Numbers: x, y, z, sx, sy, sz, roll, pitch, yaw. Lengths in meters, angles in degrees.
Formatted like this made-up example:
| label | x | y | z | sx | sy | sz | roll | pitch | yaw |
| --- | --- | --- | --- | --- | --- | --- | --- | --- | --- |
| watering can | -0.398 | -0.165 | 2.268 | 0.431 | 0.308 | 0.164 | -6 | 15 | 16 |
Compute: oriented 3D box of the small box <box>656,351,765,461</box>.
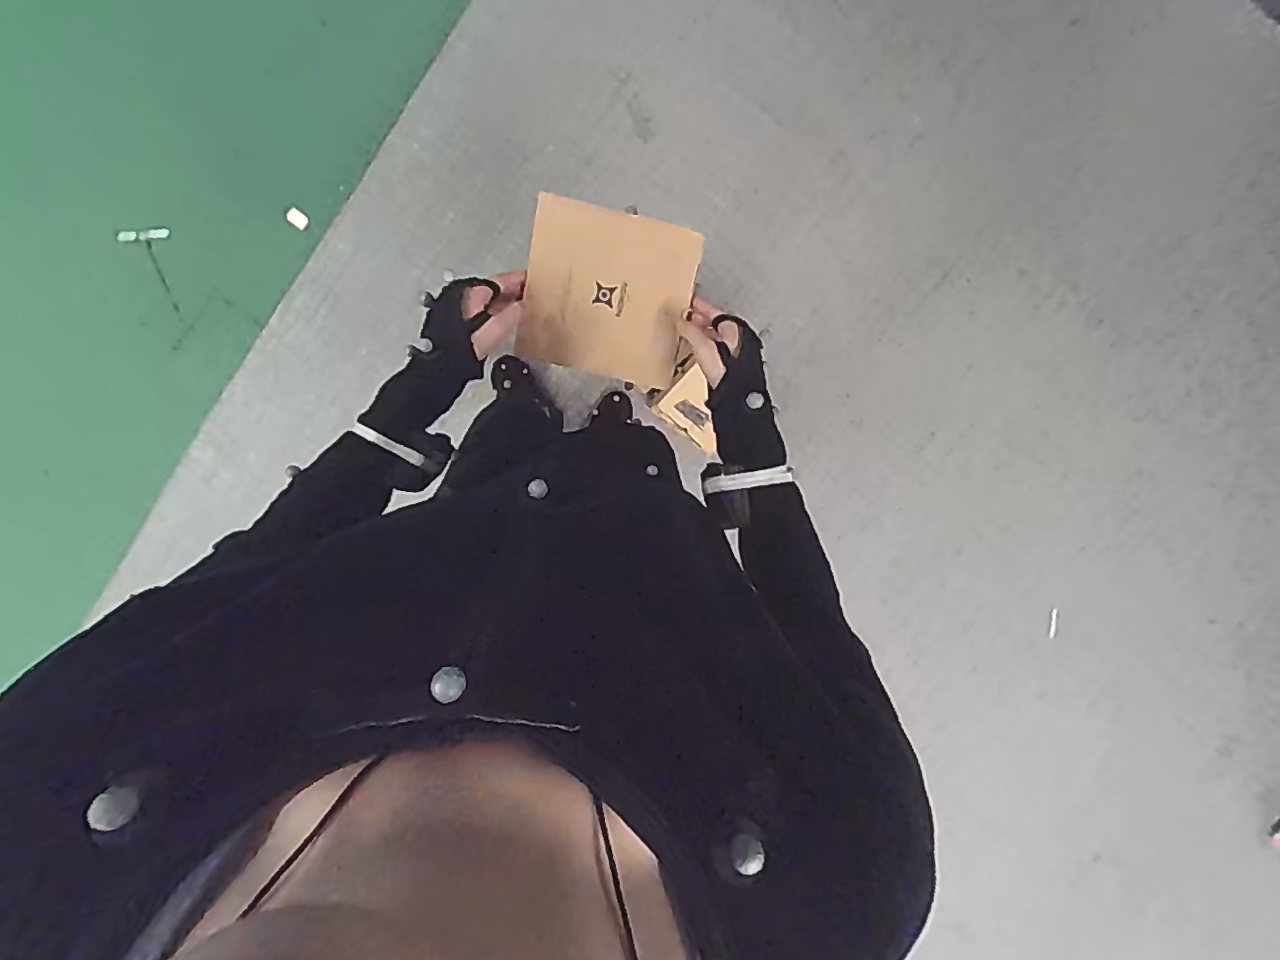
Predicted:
| label | x | y | z | sx | sy | sz | roll | pitch | yaw |
| --- | --- | --- | --- | --- | --- | --- | --- | --- | --- |
| small box | 0.152 | -0.170 | 1.229 | 0.168 | 0.176 | 0.179 | 43 | 97 | -9 |

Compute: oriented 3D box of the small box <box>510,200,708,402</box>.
| label | x | y | z | sx | sy | sz | roll | pitch | yaw |
| --- | --- | --- | --- | --- | --- | --- | --- | --- | --- |
| small box | -0.032 | -0.204 | 0.639 | 0.179 | 0.176 | 0.168 | 16 | 105 | -2 |

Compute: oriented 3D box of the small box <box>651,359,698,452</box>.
| label | x | y | z | sx | sy | sz | roll | pitch | yaw |
| --- | --- | --- | --- | --- | --- | --- | --- | --- | --- |
| small box | 0.141 | -0.192 | 1.392 | 0.168 | 0.176 | 0.179 | 38 | 98 | -9 |
